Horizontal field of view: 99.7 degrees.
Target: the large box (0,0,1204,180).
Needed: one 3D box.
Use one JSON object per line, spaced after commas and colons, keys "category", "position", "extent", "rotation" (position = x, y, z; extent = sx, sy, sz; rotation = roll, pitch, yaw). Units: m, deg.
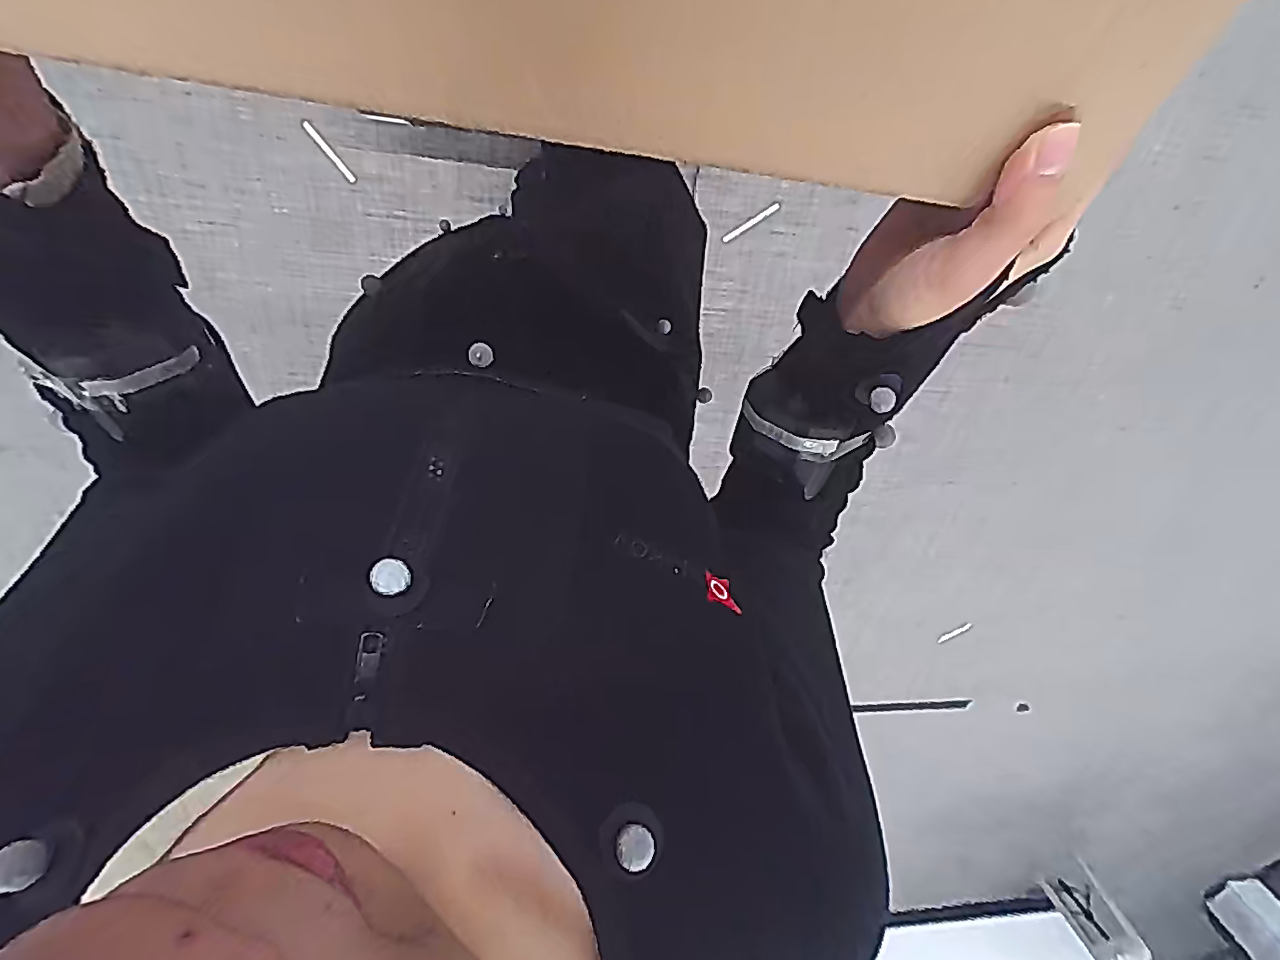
{"category": "large box", "position": [-0.021, -0.332, 0.147], "extent": [0.408, 0.320, 0.320], "rotation": [4, 145, -8]}
